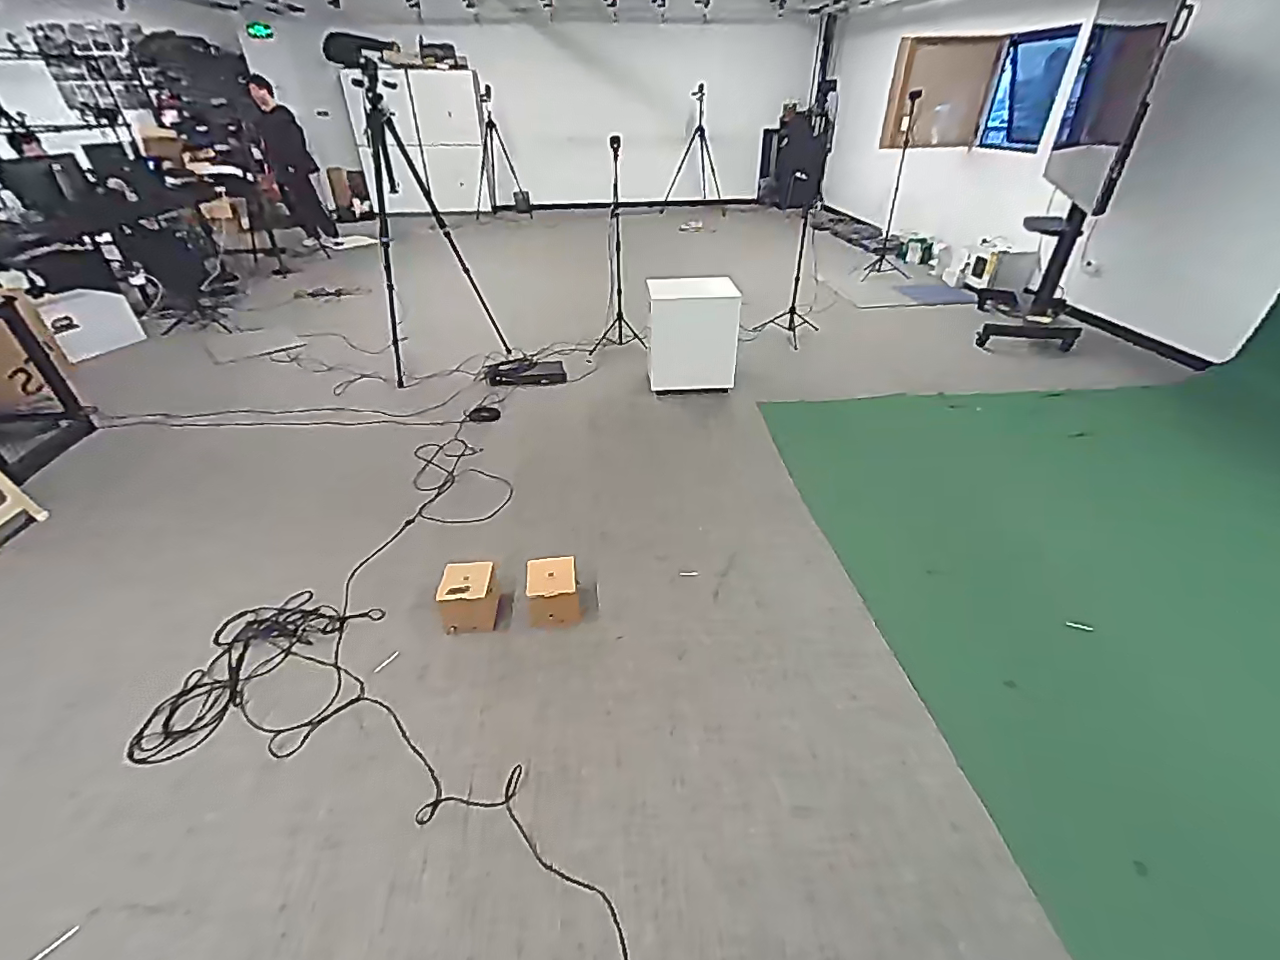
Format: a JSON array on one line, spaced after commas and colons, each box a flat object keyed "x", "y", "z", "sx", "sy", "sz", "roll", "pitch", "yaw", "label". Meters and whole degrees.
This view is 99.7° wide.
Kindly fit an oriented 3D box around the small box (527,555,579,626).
[{"x": -0.307, "y": 0.394, "z": 1.922, "sx": 0.168, "sy": 0.176, "sz": 0.179, "roll": -5, "pitch": 36, "yaw": -6, "label": "small box"}]

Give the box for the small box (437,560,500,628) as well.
[{"x": -0.597, "y": 0.406, "z": 1.905, "sx": 0.168, "sy": 0.176, "sz": 0.179, "roll": -2, "pitch": 35, "yaw": -3, "label": "small box"}]
